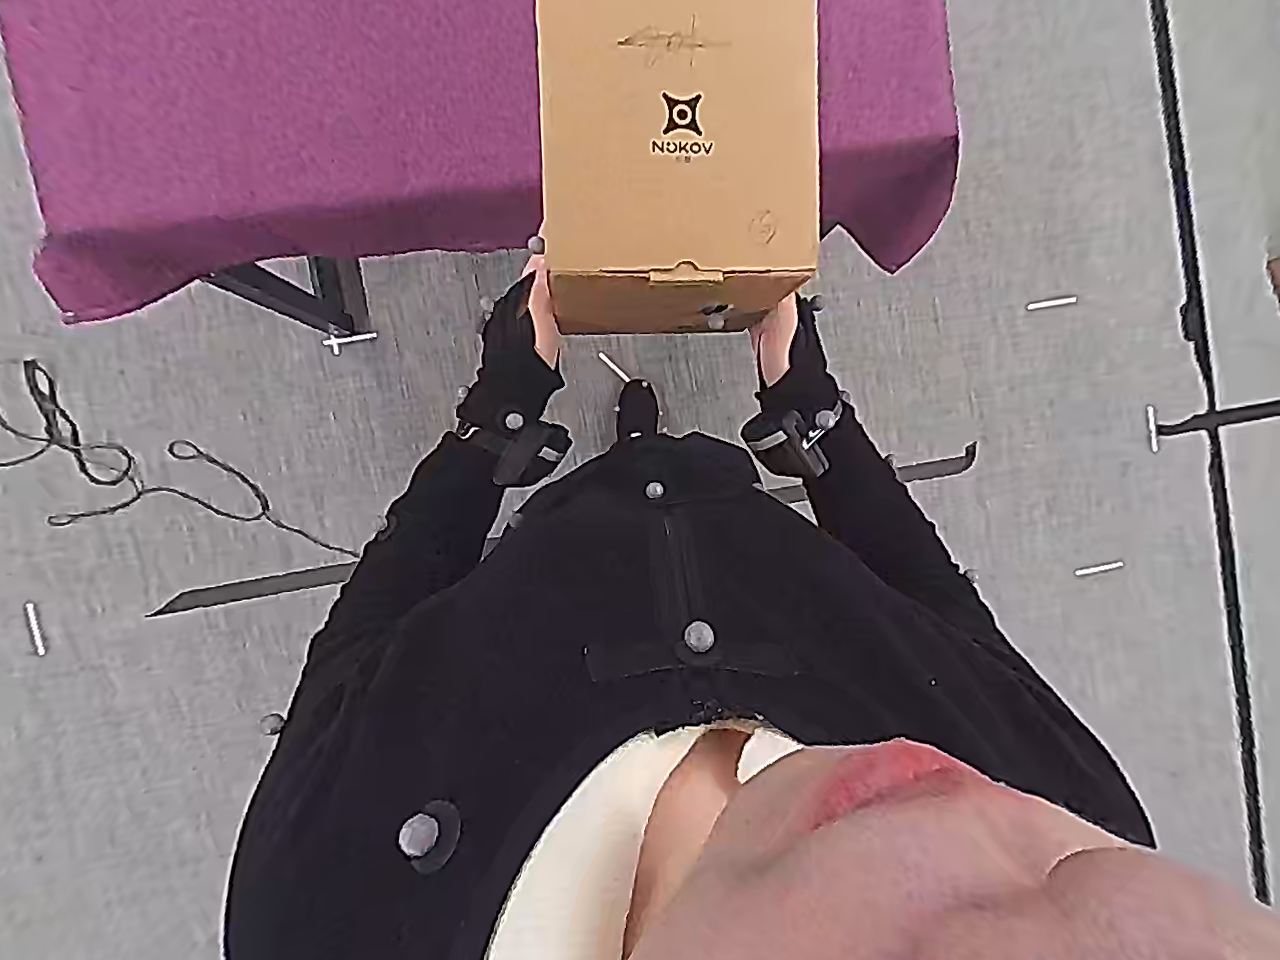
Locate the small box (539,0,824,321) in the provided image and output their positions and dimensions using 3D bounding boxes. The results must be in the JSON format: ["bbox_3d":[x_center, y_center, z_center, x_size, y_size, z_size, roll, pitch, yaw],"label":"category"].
[{"bbox_3d":[0.019,-0.218,0.391,0.168,0.176,0.179,-2,94,-6],"label":"small box"}]
